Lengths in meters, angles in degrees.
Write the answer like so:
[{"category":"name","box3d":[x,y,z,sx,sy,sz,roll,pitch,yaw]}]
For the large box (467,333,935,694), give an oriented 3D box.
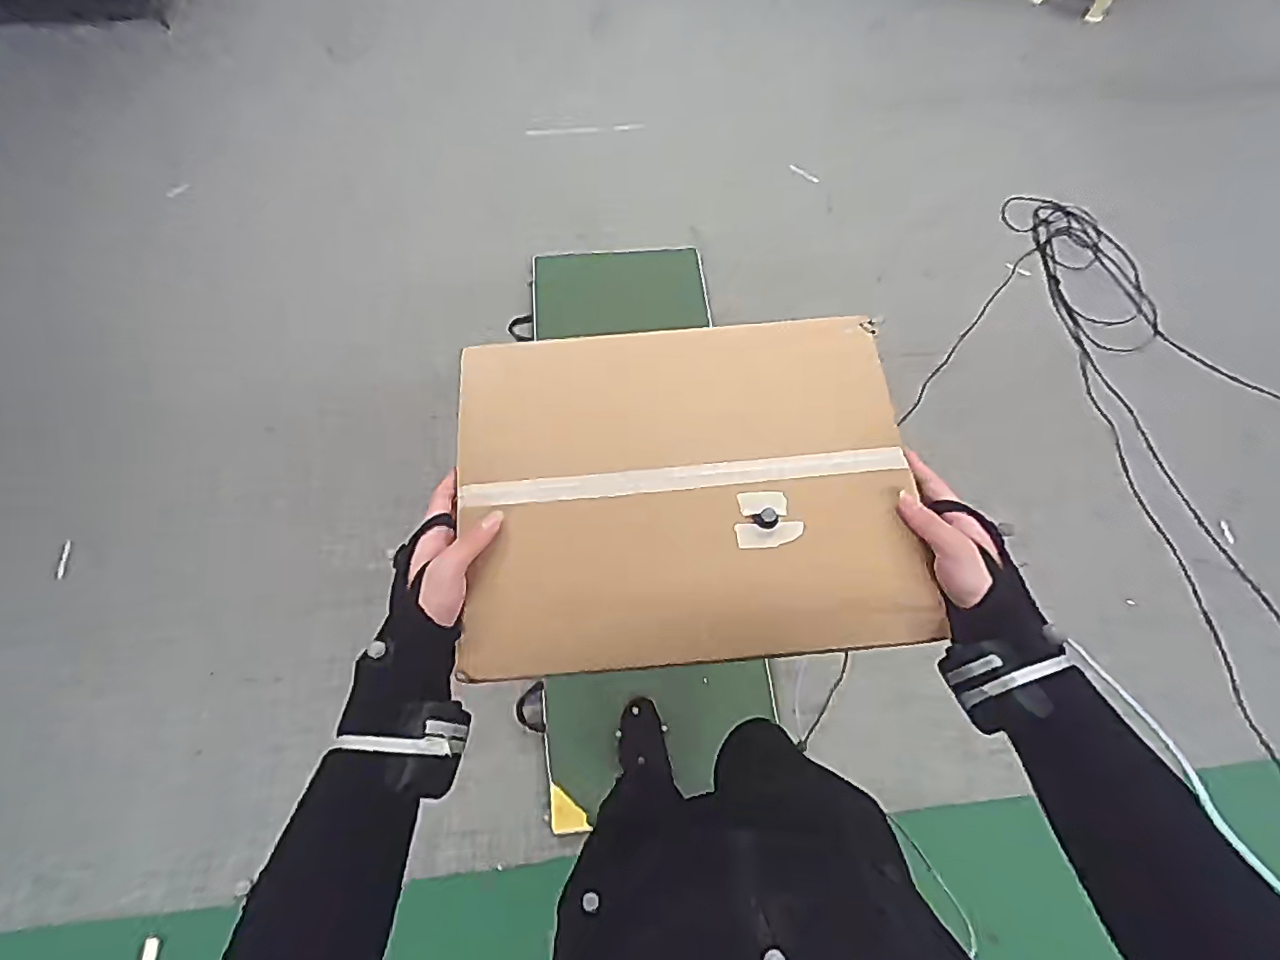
[{"category":"large box","box3d":[0.039,0.062,0.639,0.408,0.320,0.320,-5,71,-1]}]
